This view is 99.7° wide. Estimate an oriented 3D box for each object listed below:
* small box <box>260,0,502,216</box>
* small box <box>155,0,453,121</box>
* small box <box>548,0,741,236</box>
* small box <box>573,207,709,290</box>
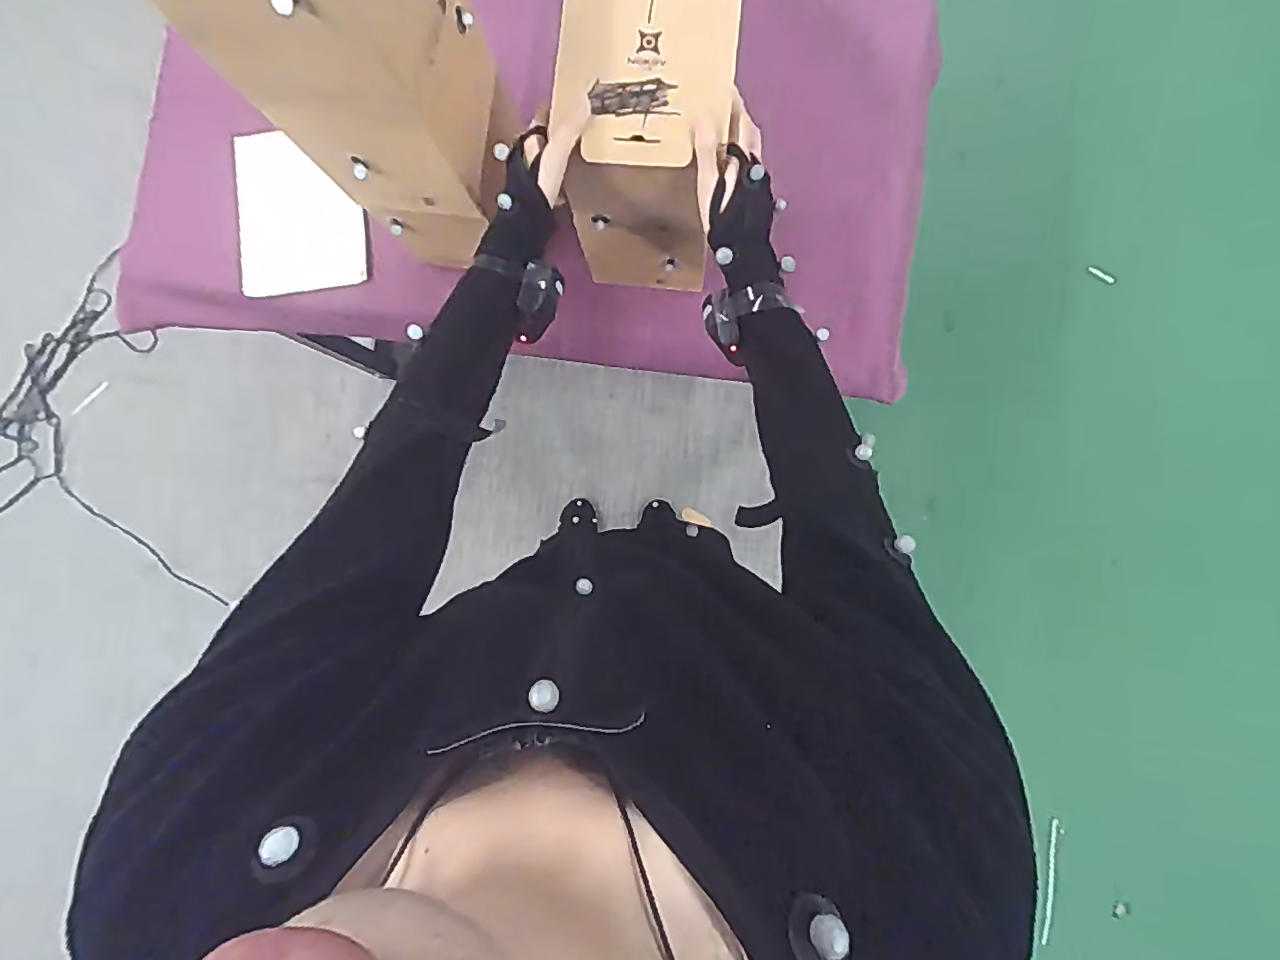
[{"bbox_3d":[-0.264,-0.418,0.591,0.168,0.176,0.179,8,85,4],"label":"small box"},{"bbox_3d":[-0.266,-0.423,0.426,0.179,0.176,0.168,10,85,4],"label":"small box"},{"bbox_3d":[0.009,-0.385,0.574,0.168,0.176,0.179,6,86,3],"label":"small box"},{"bbox_3d":[0.015,-0.379,0.737,0.168,0.176,0.179,7,86,4],"label":"small box"}]
